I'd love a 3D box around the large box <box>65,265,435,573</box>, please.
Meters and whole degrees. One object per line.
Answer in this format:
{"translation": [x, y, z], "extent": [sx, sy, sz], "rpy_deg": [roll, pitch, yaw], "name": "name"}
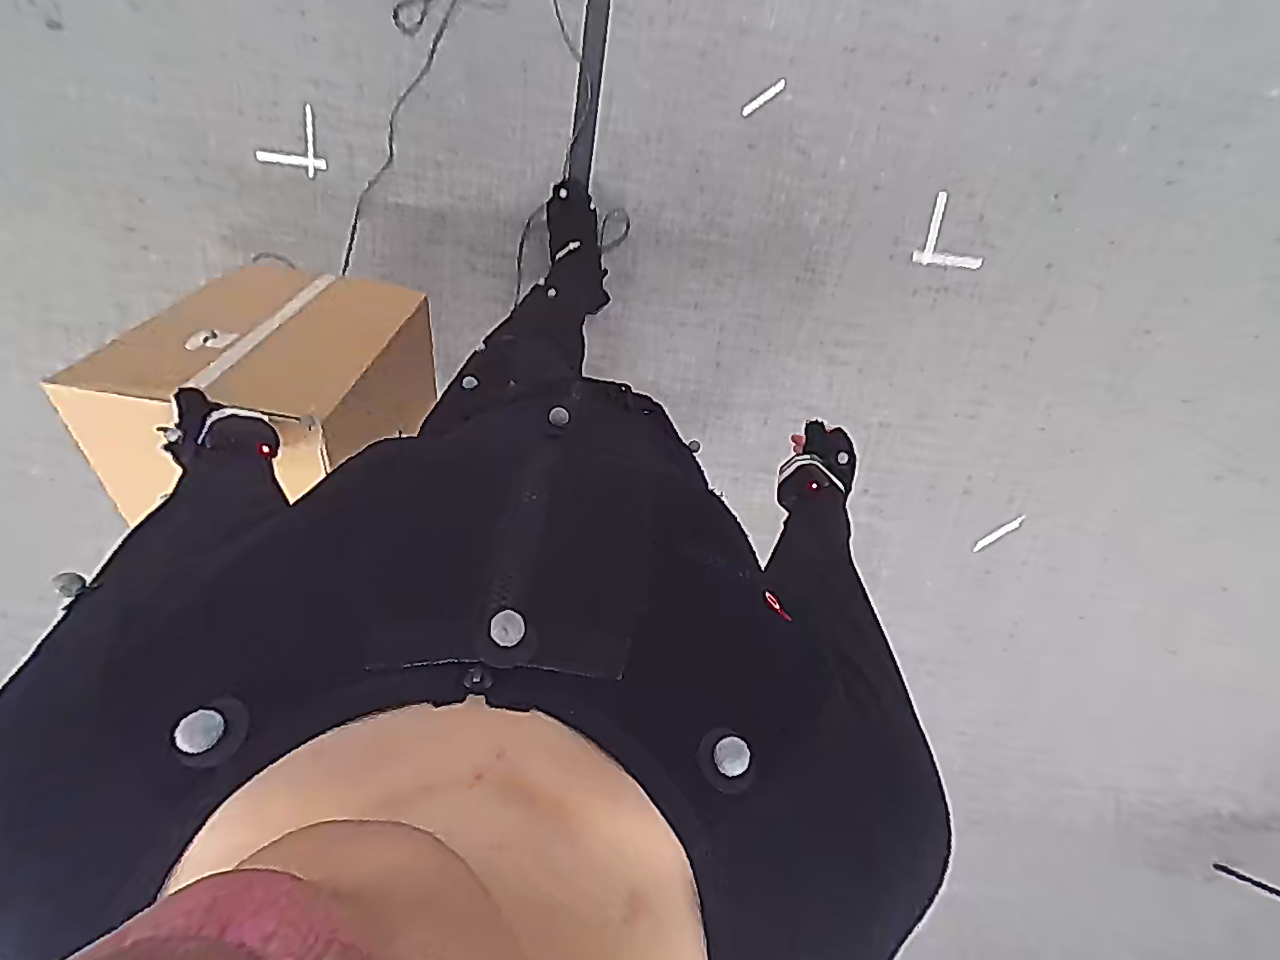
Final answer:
{"translation": [-0.561, -0.111, 0.901], "extent": [0.320, 0.408, 0.320], "rpy_deg": [8, 131, -4], "name": "large box"}
